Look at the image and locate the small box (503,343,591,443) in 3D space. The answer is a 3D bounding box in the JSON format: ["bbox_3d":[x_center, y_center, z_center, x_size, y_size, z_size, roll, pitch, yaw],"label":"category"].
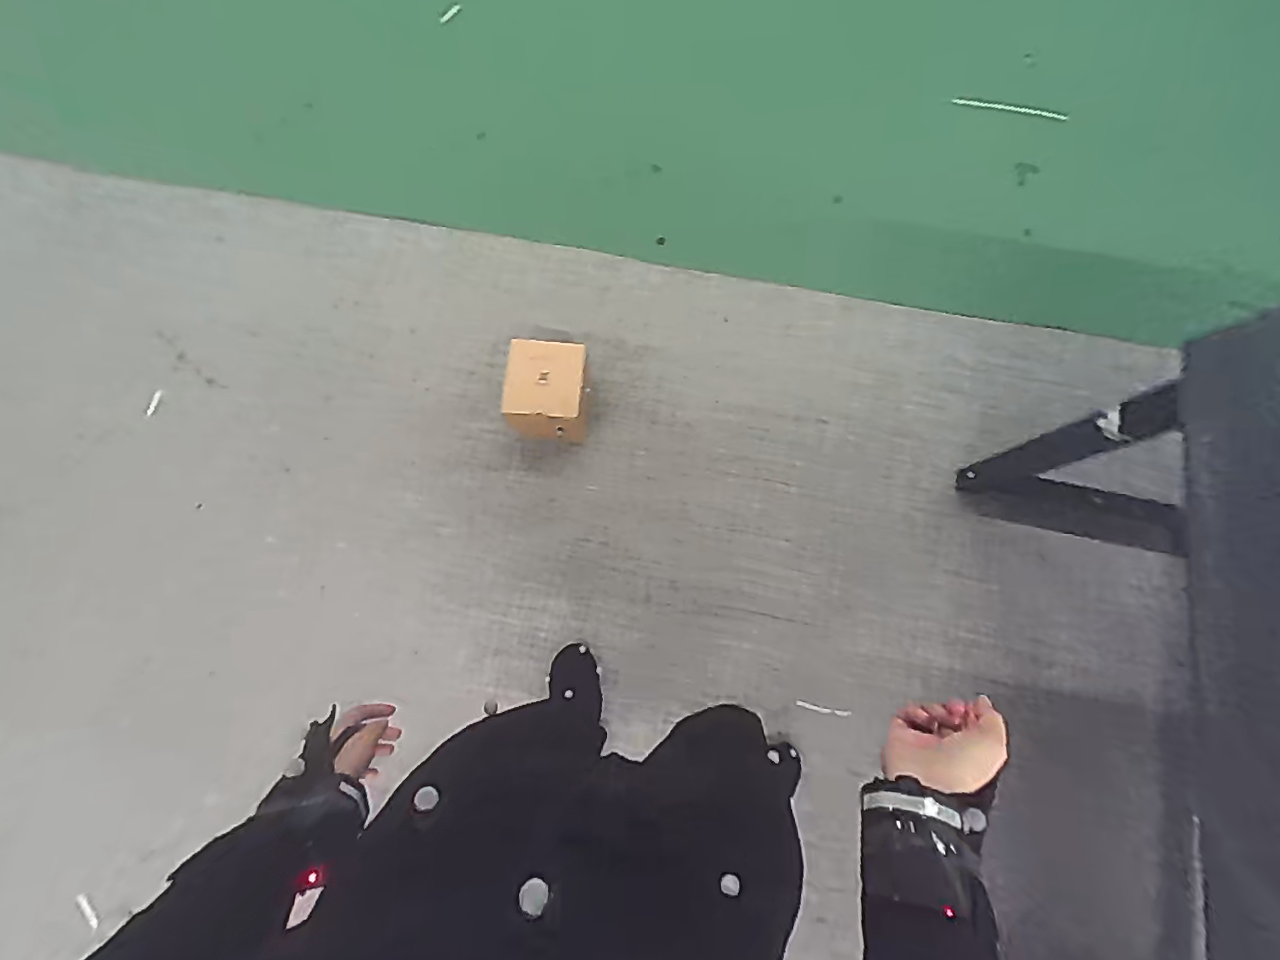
[{"bbox_3d":[-0.205,-0.193,1.246,0.168,0.176,0.179,5,76,0],"label":"small box"}]
